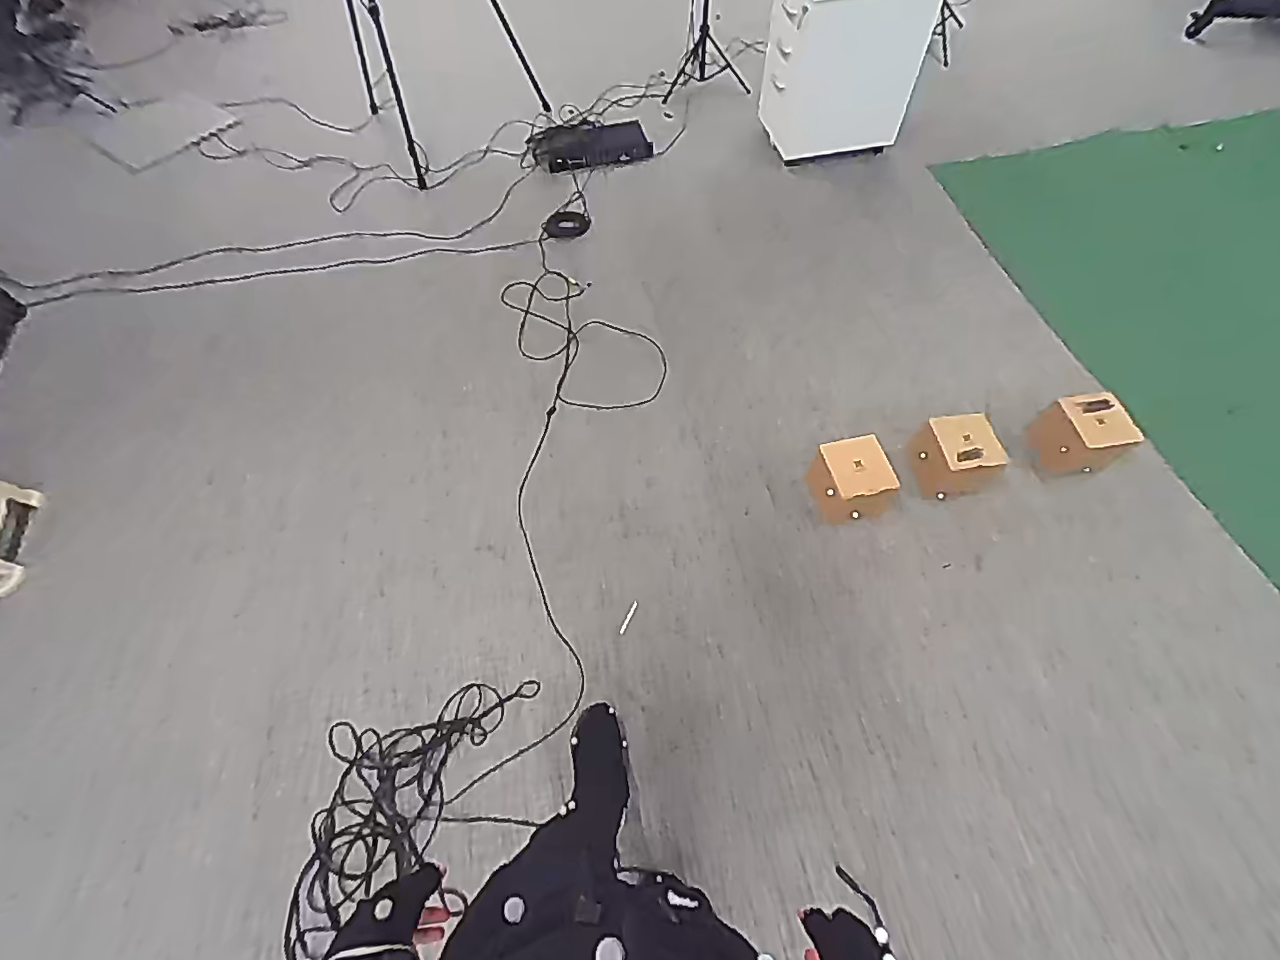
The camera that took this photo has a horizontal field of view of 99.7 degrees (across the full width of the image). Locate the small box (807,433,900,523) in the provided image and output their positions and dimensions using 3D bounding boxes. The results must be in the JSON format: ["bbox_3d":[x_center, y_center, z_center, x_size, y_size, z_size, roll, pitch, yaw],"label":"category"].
[{"bbox_3d":[0.589,-0.003,1.523,0.168,0.176,0.179,-12,61,-4],"label":"small box"}]

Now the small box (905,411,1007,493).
[{"bbox_3d":[0.895,-0.072,1.548,0.168,0.176,0.179,-6,59,-2],"label":"small box"}]
